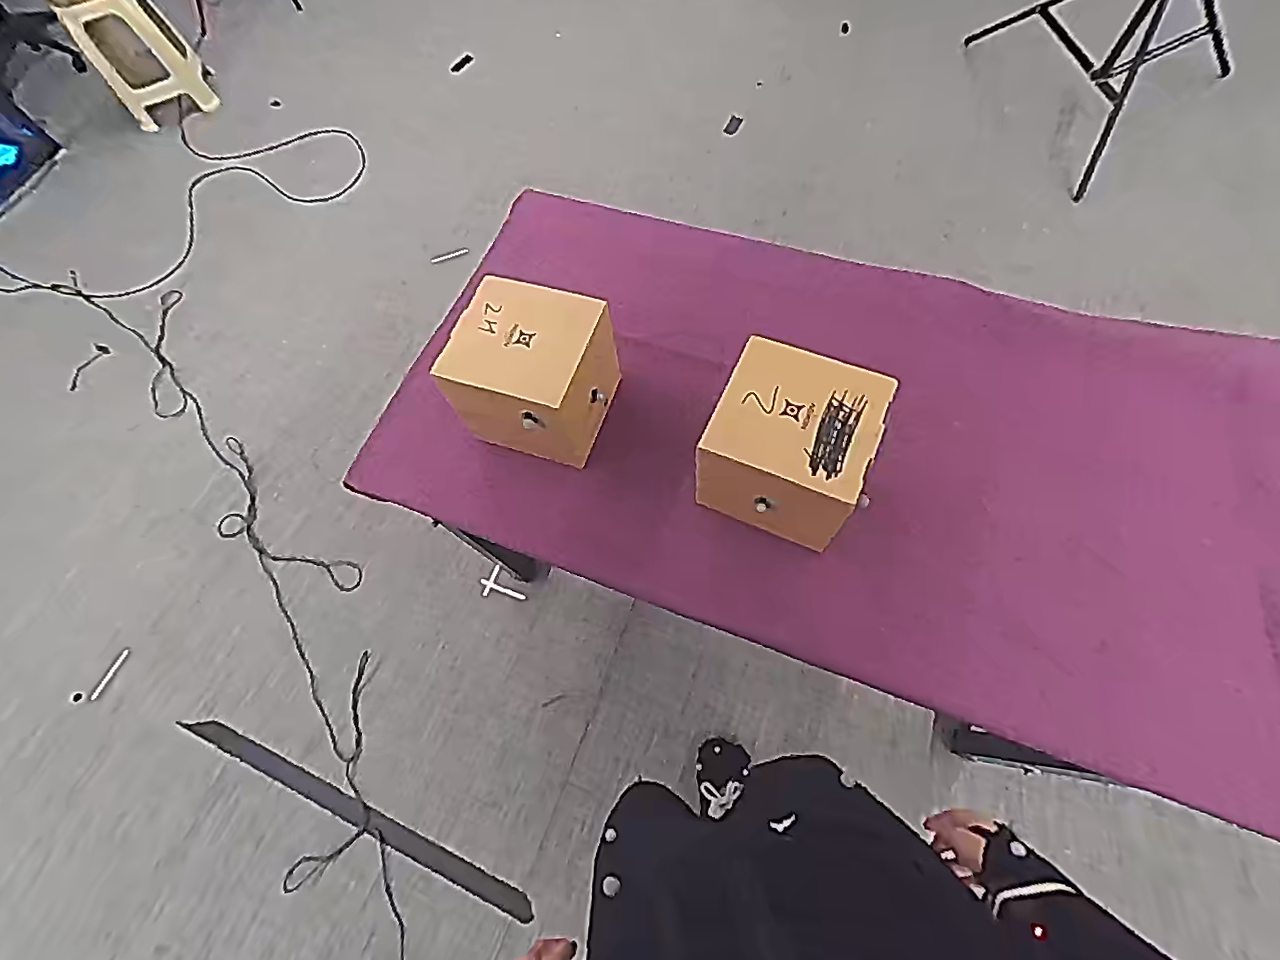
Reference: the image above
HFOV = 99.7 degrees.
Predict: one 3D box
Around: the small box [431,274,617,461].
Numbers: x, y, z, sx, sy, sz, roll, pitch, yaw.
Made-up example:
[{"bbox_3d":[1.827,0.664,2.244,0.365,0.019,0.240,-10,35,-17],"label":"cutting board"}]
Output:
[{"bbox_3d":[-0.141,-0.144,0.738,0.179,0.176,0.168,16,68,12],"label":"small box"}]
